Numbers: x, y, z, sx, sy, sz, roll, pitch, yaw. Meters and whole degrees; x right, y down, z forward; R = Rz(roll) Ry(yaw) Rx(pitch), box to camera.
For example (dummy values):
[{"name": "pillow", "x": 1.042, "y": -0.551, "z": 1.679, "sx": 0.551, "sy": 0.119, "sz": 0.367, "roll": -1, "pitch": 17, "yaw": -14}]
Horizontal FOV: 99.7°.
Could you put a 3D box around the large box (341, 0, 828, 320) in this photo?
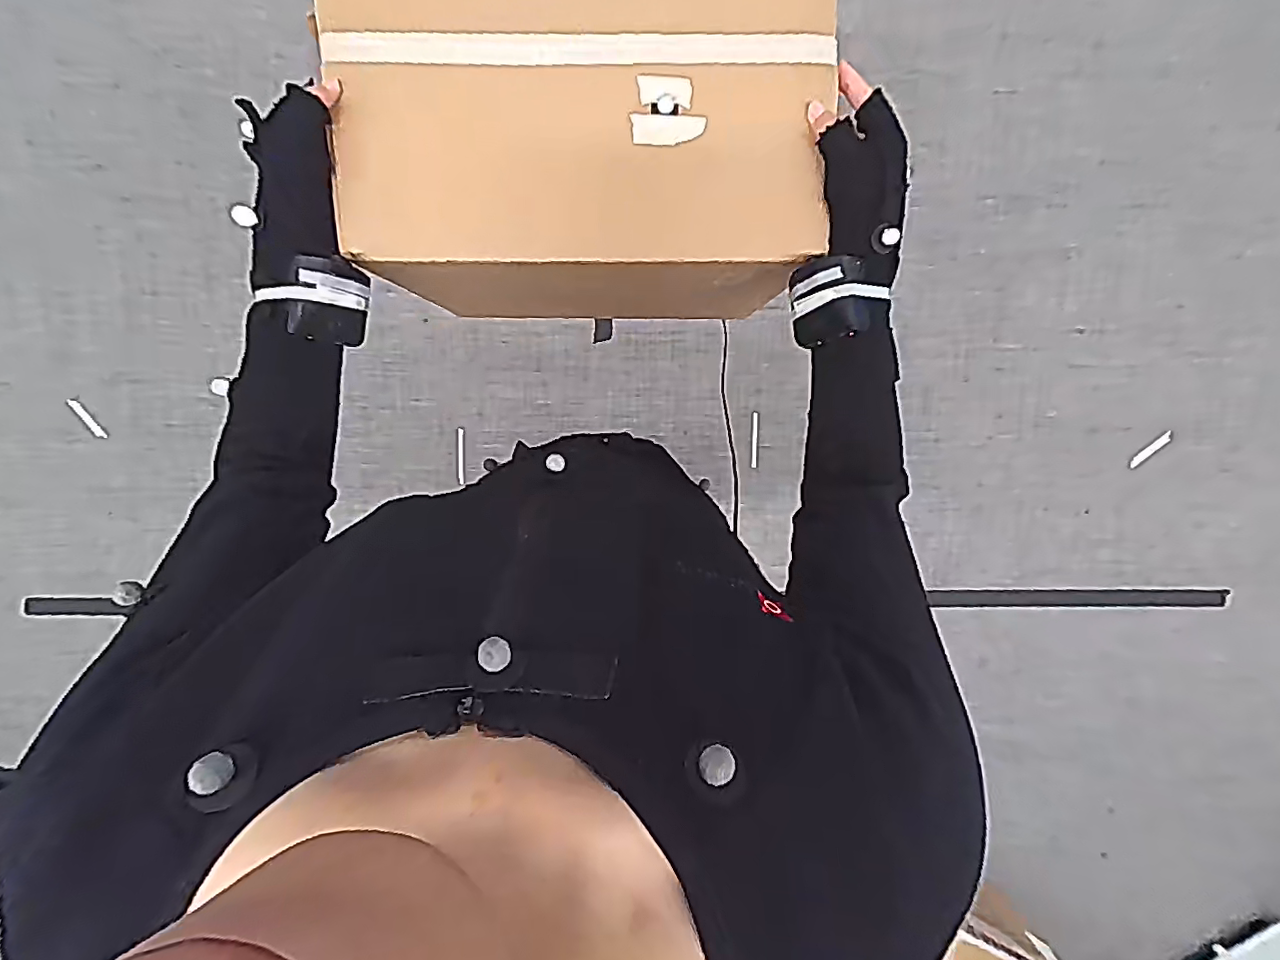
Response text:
[{"name": "large box", "x": -0.049, "y": -0.361, "z": 0.594, "sx": 0.408, "sy": 0.320, "sz": 0.320, "roll": -1, "pitch": 99, "yaw": -2}]
